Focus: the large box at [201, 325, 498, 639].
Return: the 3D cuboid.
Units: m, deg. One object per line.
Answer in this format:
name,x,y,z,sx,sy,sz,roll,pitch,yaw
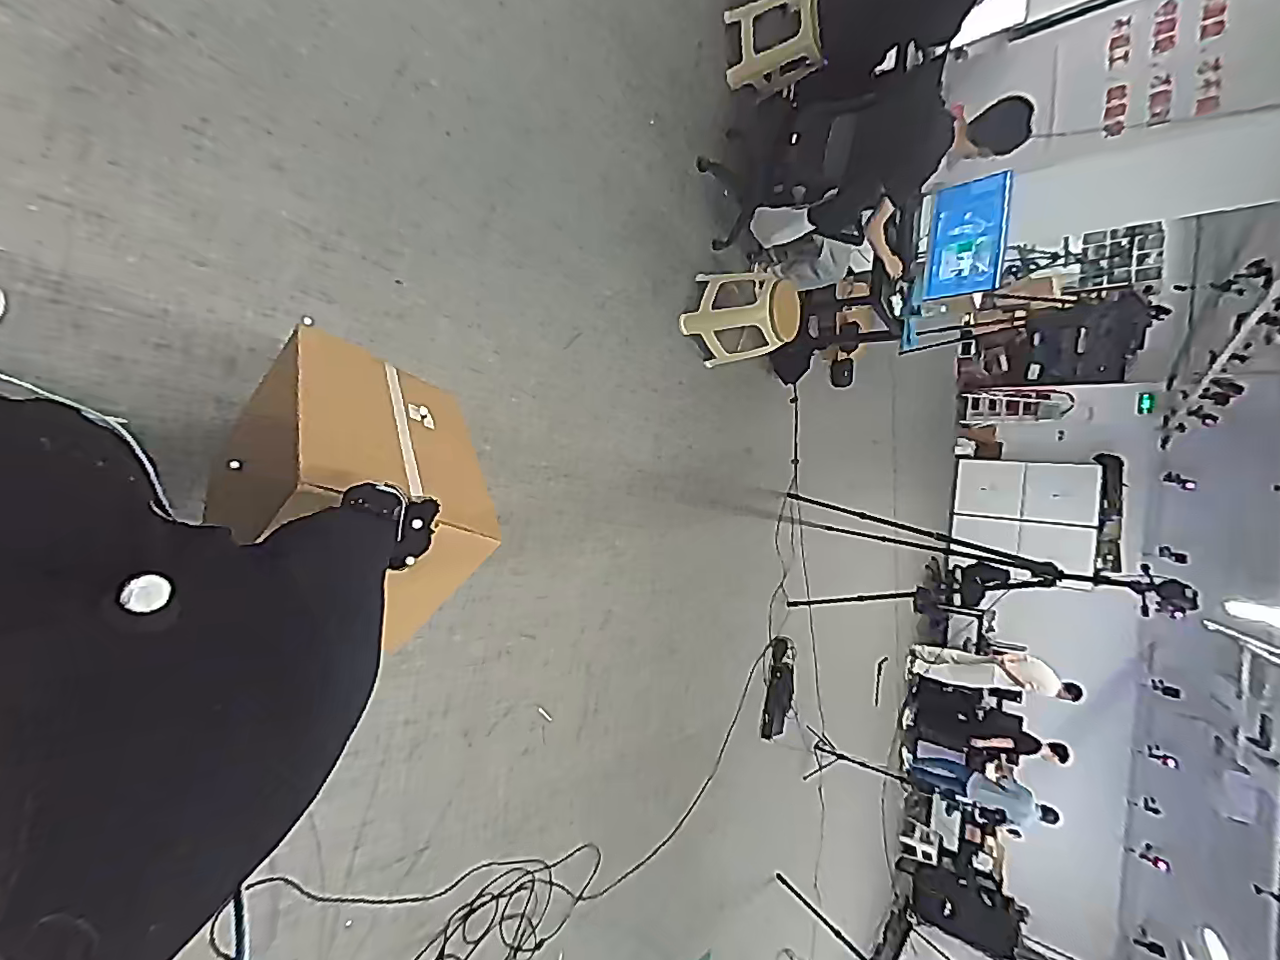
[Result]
large box,-0.506,0.016,0.942,0.320,0.408,0.320,-44,139,15
